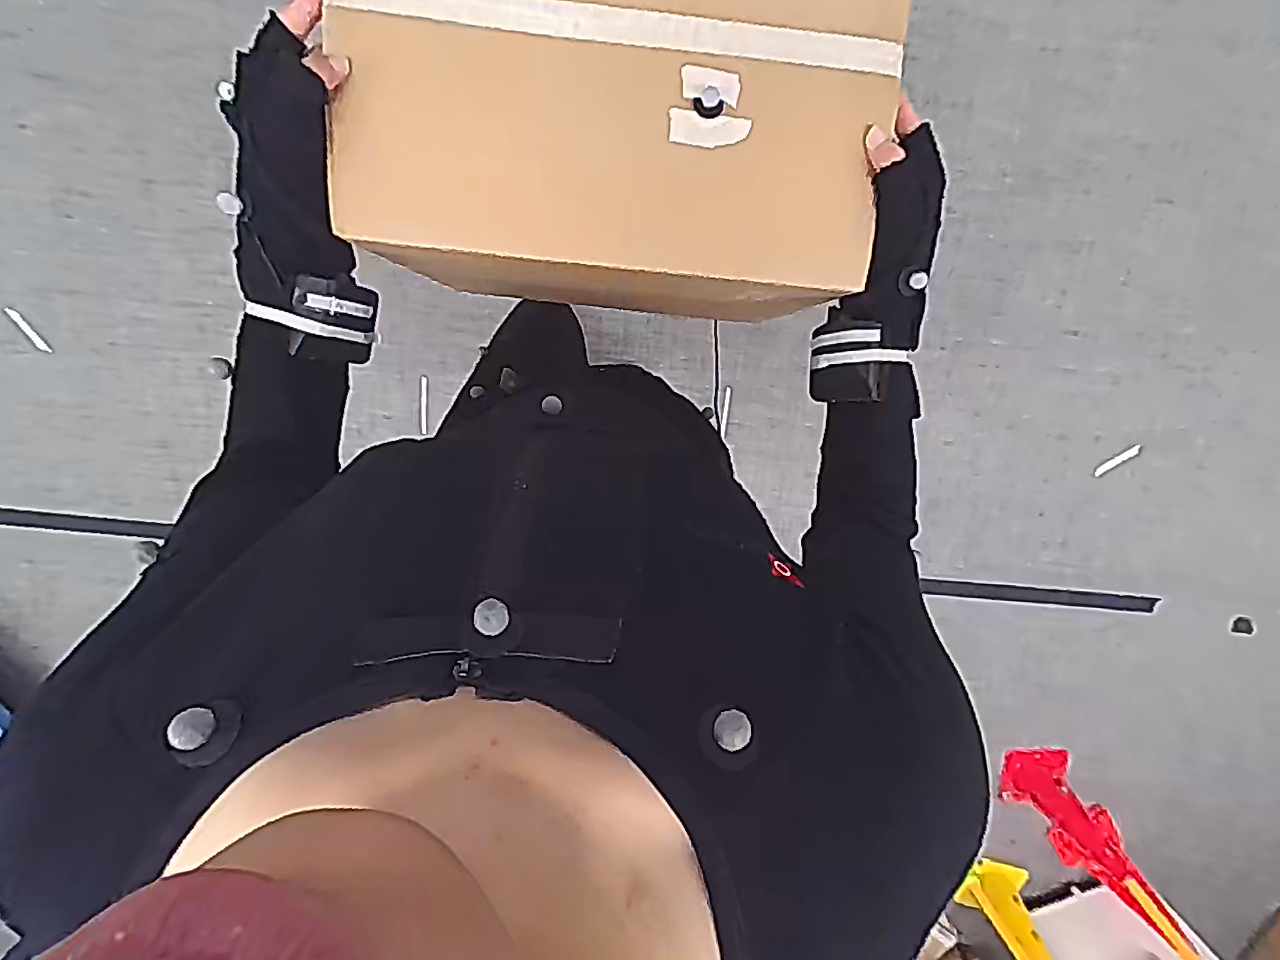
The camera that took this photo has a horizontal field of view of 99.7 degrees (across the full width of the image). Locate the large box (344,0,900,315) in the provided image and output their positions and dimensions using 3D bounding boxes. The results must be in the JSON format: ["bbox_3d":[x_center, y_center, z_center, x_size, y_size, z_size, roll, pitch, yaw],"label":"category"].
[{"bbox_3d":[-0.019,-0.354,0.537,0.408,0.320,0.320,4,101,-4],"label":"large box"}]
